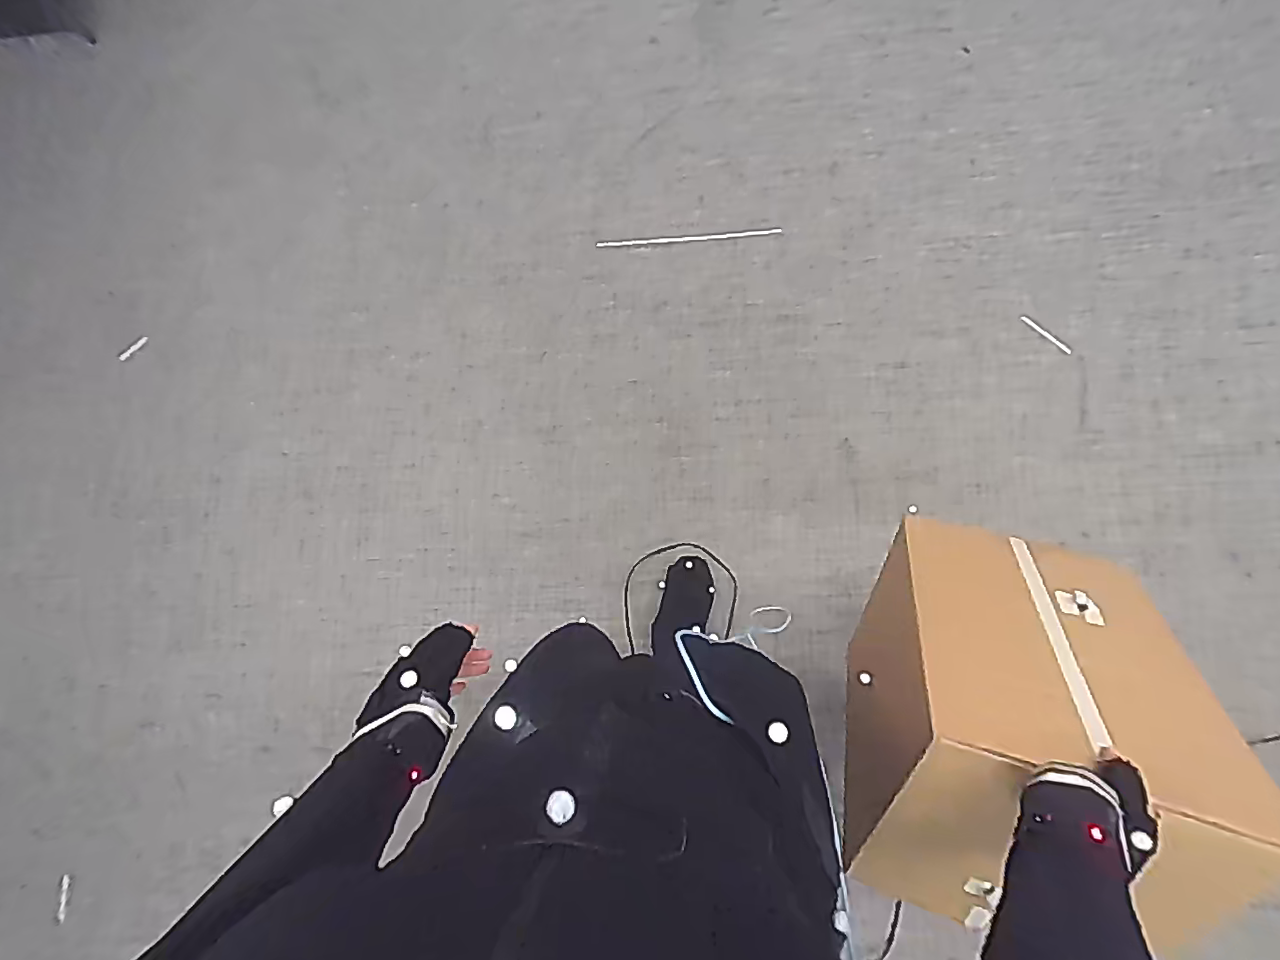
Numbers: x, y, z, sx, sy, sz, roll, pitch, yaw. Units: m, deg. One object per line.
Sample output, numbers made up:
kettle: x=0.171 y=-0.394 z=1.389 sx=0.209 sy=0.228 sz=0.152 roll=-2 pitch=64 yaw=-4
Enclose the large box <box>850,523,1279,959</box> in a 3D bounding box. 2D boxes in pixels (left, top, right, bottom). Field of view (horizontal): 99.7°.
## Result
large box: x=0.485 y=0.324 z=0.737 sx=0.320 sy=0.408 sz=0.320 roll=15 pitch=123 yaw=13
